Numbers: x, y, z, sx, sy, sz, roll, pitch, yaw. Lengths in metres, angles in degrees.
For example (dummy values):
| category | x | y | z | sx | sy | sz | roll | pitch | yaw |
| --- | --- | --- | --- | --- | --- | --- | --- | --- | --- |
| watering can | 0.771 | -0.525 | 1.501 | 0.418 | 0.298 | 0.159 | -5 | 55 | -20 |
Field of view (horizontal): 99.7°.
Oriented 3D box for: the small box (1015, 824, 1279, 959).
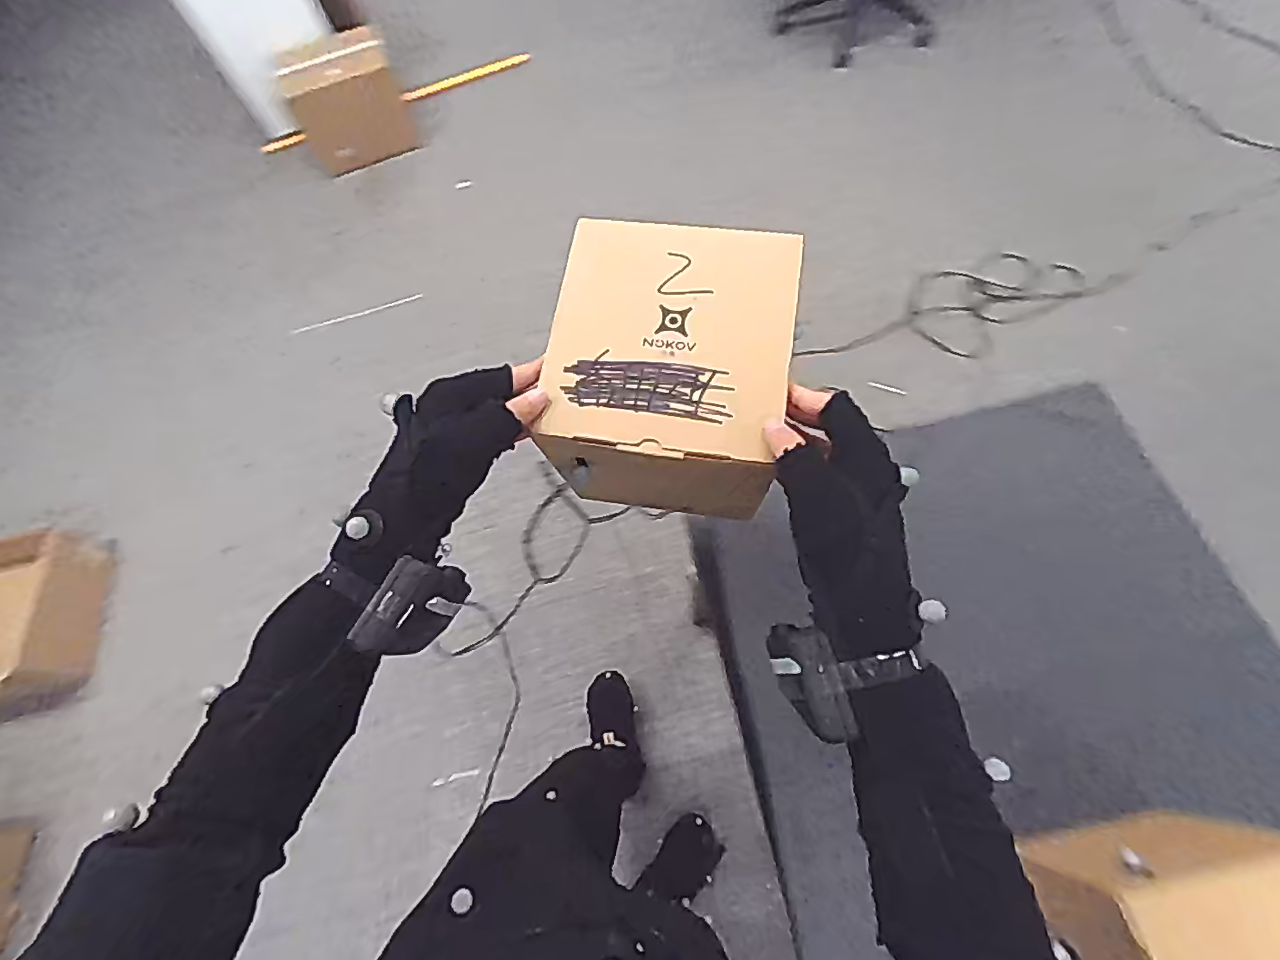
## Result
| category | x | y | z | sx | sy | sz | roll | pitch | yaw |
| --- | --- | --- | --- | --- | --- | --- | --- | --- | --- |
| small box | 0.459 | 0.396 | 0.432 | 0.179 | 0.176 | 0.168 | -13 | 65 | 0 |
